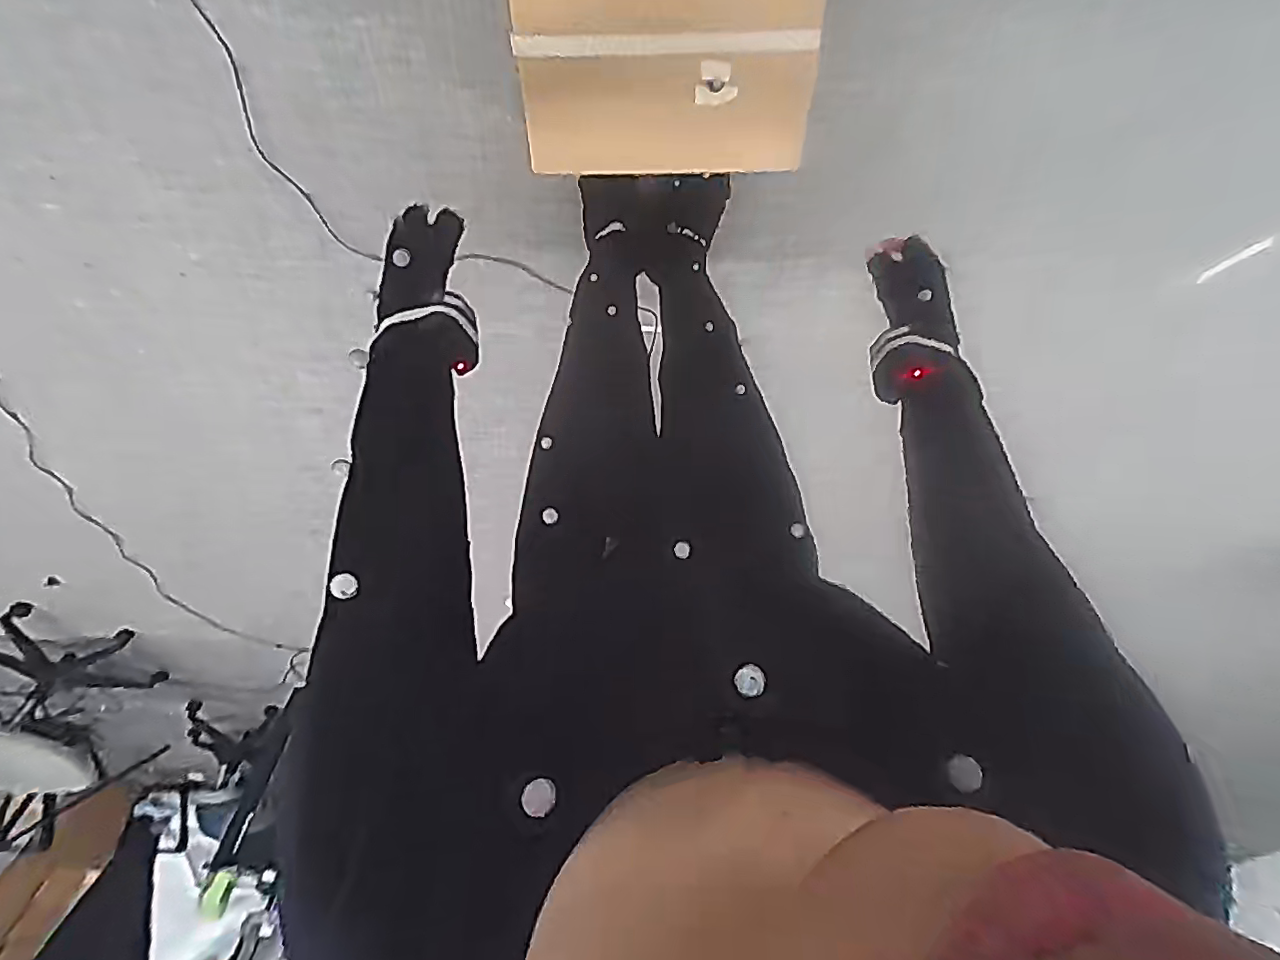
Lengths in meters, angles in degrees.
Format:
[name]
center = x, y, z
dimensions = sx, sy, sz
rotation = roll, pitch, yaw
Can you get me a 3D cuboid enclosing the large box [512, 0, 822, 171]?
[large box]
center = 0.031, -0.688, 0.820
dimensions = 0.408, 0.320, 0.320
rotation = -2, 134, -1
